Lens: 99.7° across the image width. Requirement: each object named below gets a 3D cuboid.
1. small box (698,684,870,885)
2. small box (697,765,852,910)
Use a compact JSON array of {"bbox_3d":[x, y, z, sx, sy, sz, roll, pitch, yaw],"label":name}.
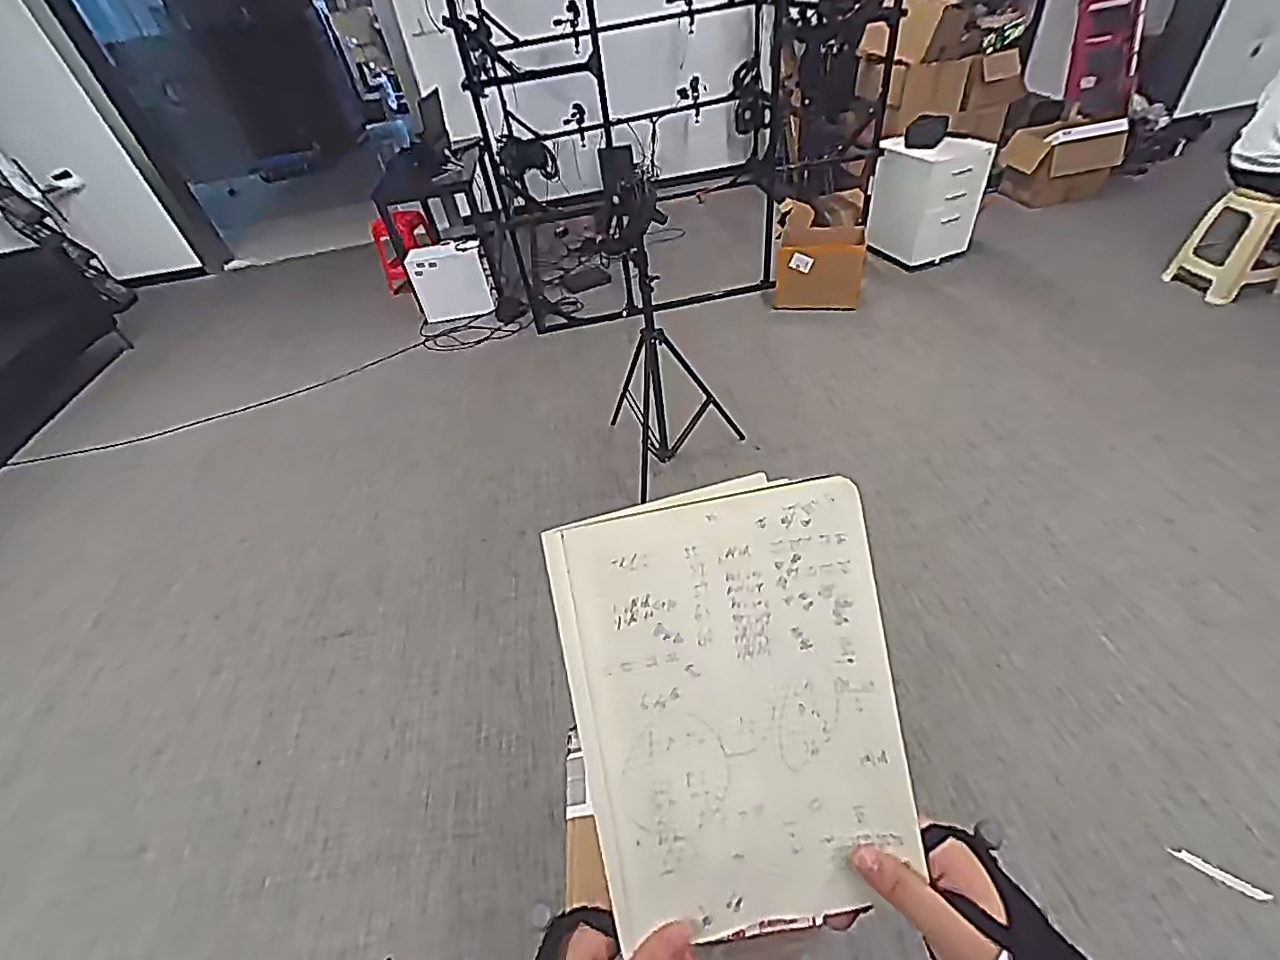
[{"bbox_3d":[0.173,0.402,0.718,0.168,0.176,0.179,-9,44,-3],"label":"small box"},{"bbox_3d":[0.191,0.525,0.825,0.179,0.176,0.168,-12,44,-4],"label":"small box"}]
